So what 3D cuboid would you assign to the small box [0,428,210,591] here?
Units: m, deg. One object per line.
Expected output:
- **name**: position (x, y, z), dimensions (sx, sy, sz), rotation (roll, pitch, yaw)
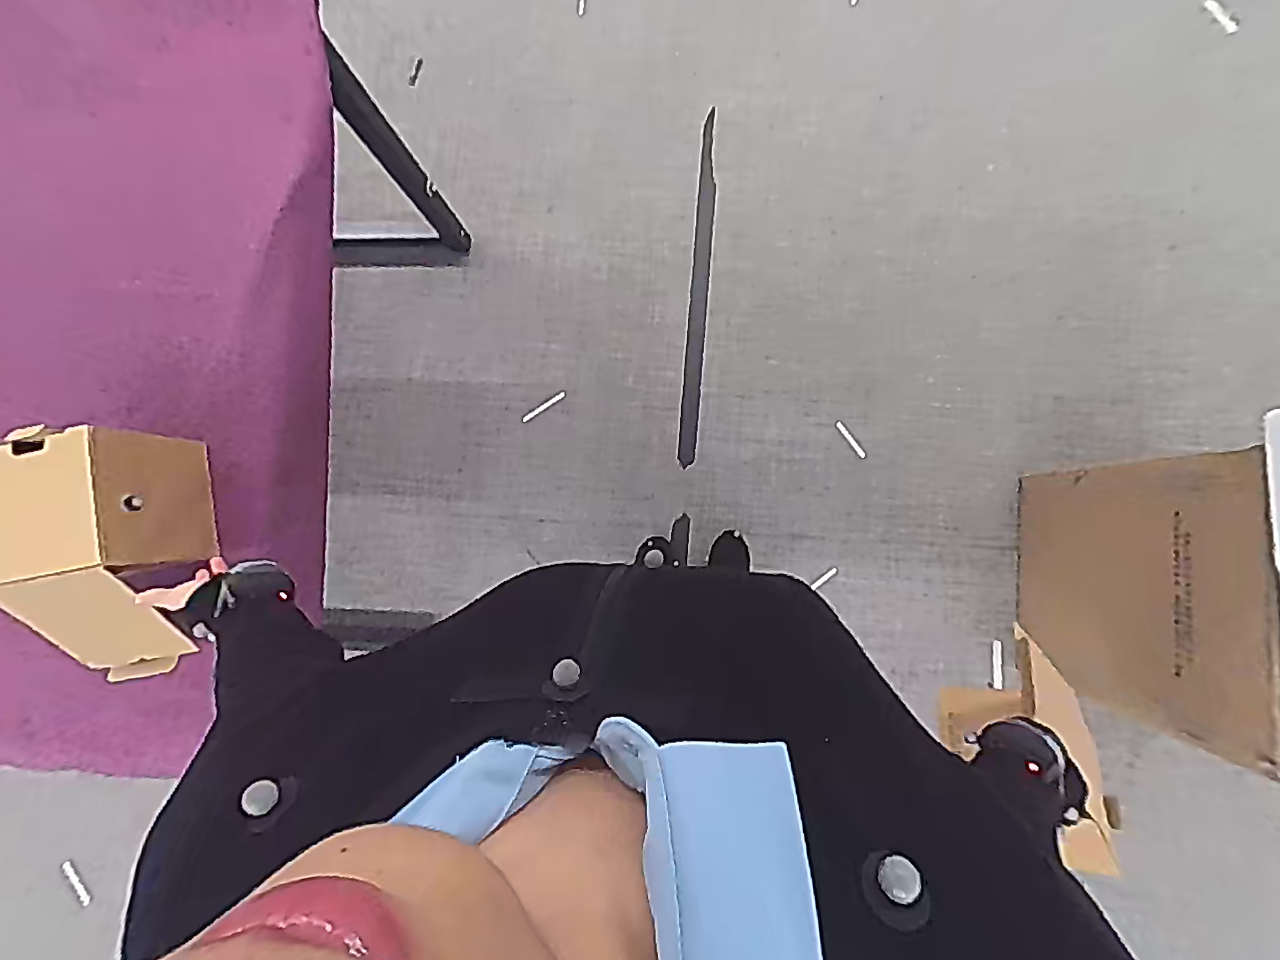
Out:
- **small box**: position (-0.721, 0.041, 0.723), dimensions (0.168, 0.176, 0.179), rotation (-10, 85, 3)
